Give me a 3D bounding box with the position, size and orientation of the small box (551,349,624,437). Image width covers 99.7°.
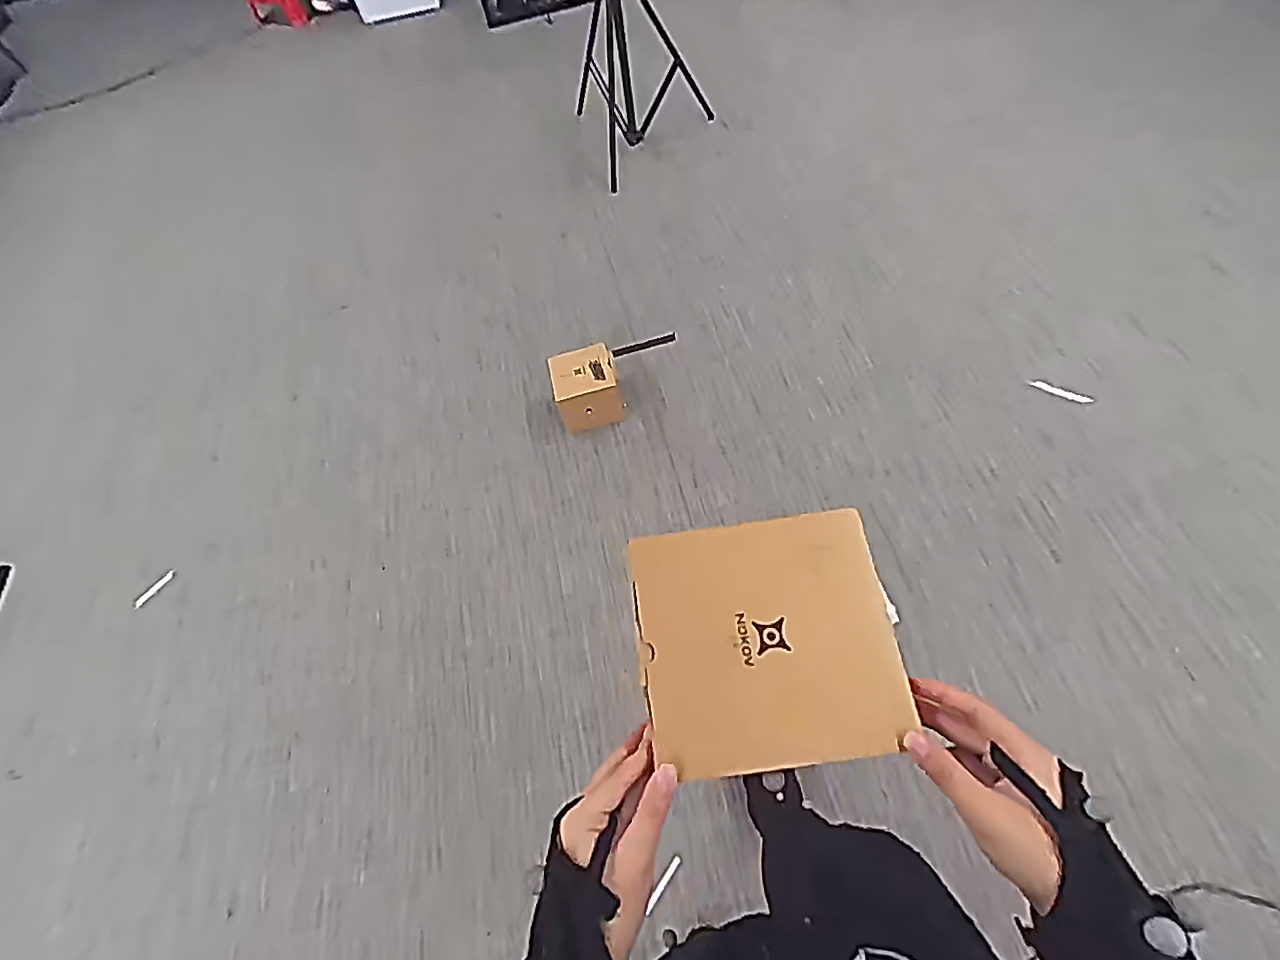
[{"bbox_3d":[-0.150,-0.254,1.602,0.179,0.176,0.168,-15,61,1],"label":"small box"}]

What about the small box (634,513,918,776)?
[{"bbox_3d":[0.095,0.138,0.458,0.179,0.176,0.168,-9,69,3],"label":"small box"}]
